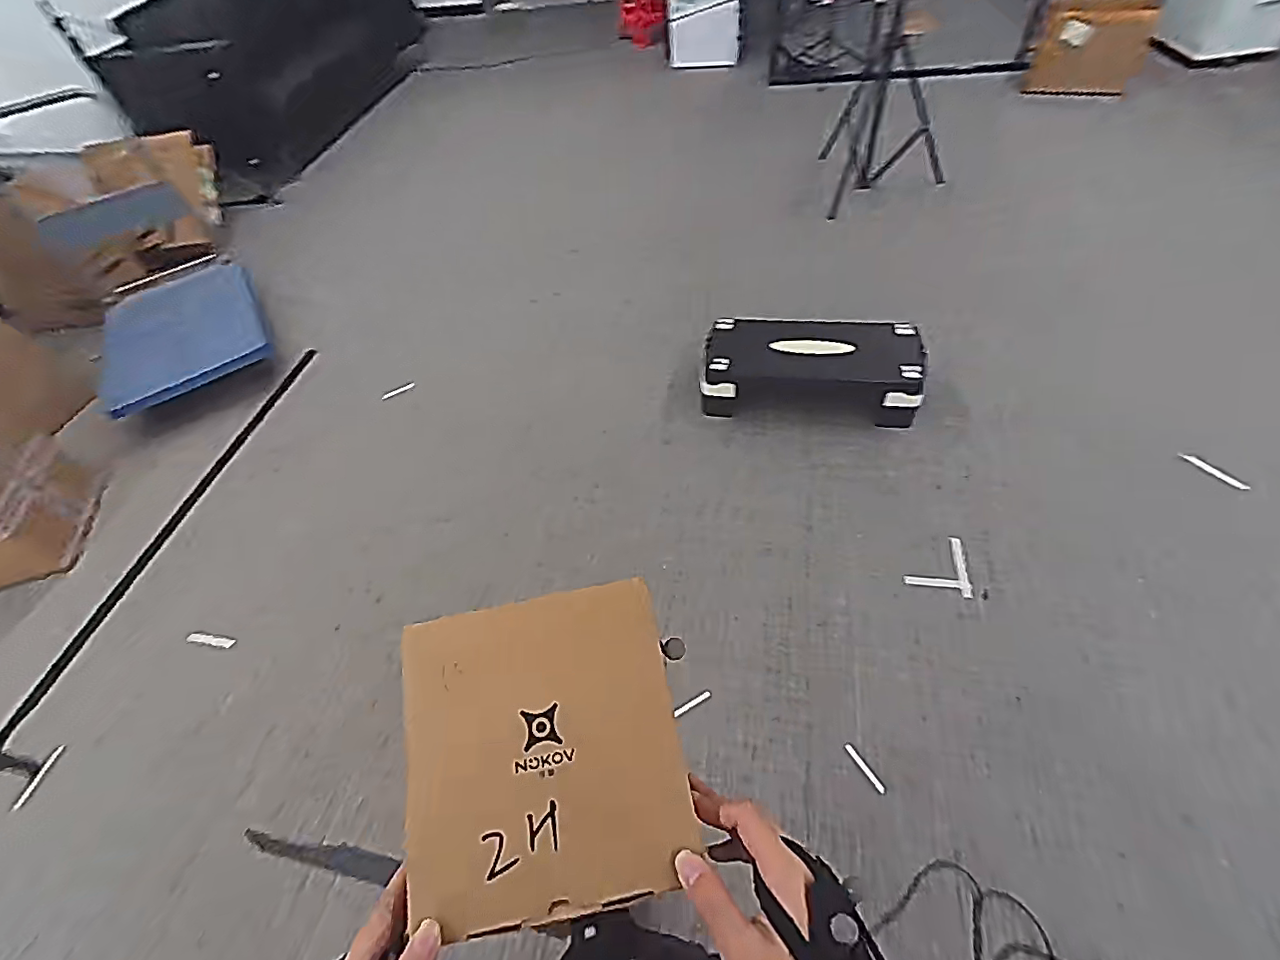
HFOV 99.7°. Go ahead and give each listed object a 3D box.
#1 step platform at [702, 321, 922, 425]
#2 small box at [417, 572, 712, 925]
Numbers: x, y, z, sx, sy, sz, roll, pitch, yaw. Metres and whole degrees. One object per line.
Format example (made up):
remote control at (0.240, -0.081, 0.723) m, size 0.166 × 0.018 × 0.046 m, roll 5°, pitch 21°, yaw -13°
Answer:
step platform at (0.552, -0.367, 1.793) m, size 0.684 × 0.204 × 0.286 m, roll 4°, pitch 53°, yaw 12°
small box at (-0.050, 0.186, 0.403) m, size 0.168 × 0.176 × 0.179 m, roll -10°, pitch 65°, yaw -2°
